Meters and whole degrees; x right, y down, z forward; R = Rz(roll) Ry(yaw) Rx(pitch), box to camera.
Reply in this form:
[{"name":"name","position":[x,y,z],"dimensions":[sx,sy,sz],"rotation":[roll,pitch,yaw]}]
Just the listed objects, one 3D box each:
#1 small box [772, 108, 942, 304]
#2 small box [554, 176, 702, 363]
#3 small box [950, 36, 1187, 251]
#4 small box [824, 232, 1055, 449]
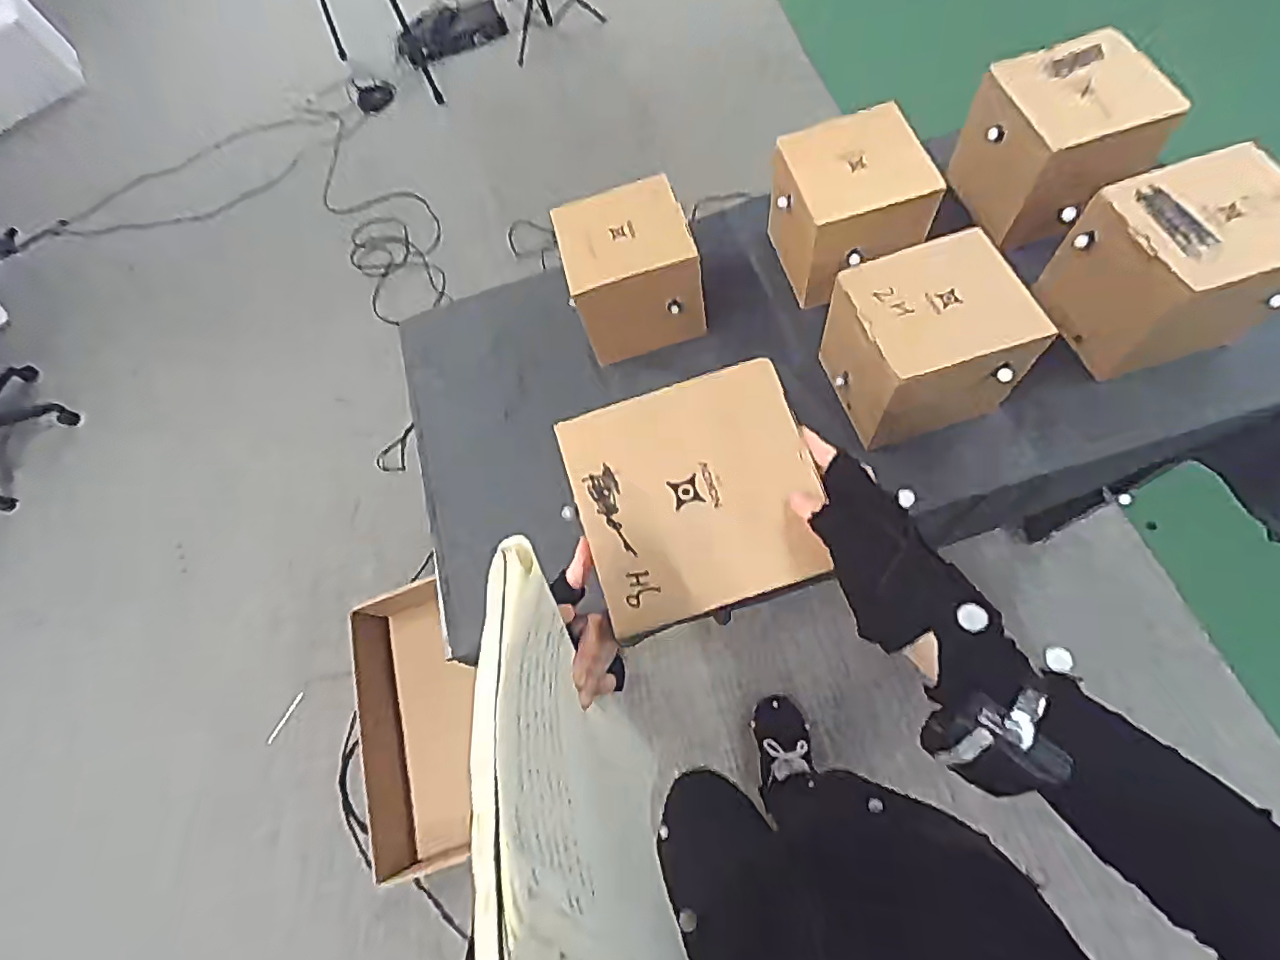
[{"name":"small box","position":[0.296,-0.380,0.781],"dimensions":[0.168,0.176,0.179],"rotation":[-15,65,4]},{"name":"small box","position":[-0.011,-0.302,0.802],"dimensions":[0.179,0.176,0.168],"rotation":[-15,66,3]},{"name":"small box","position":[0.573,-0.462,0.759],"dimensions":[0.168,0.176,0.179],"rotation":[-15,66,5]},{"name":"small box","position":[0.350,-0.164,0.676],"dimensions":[0.179,0.176,0.168],"rotation":[-18,64,5]}]
